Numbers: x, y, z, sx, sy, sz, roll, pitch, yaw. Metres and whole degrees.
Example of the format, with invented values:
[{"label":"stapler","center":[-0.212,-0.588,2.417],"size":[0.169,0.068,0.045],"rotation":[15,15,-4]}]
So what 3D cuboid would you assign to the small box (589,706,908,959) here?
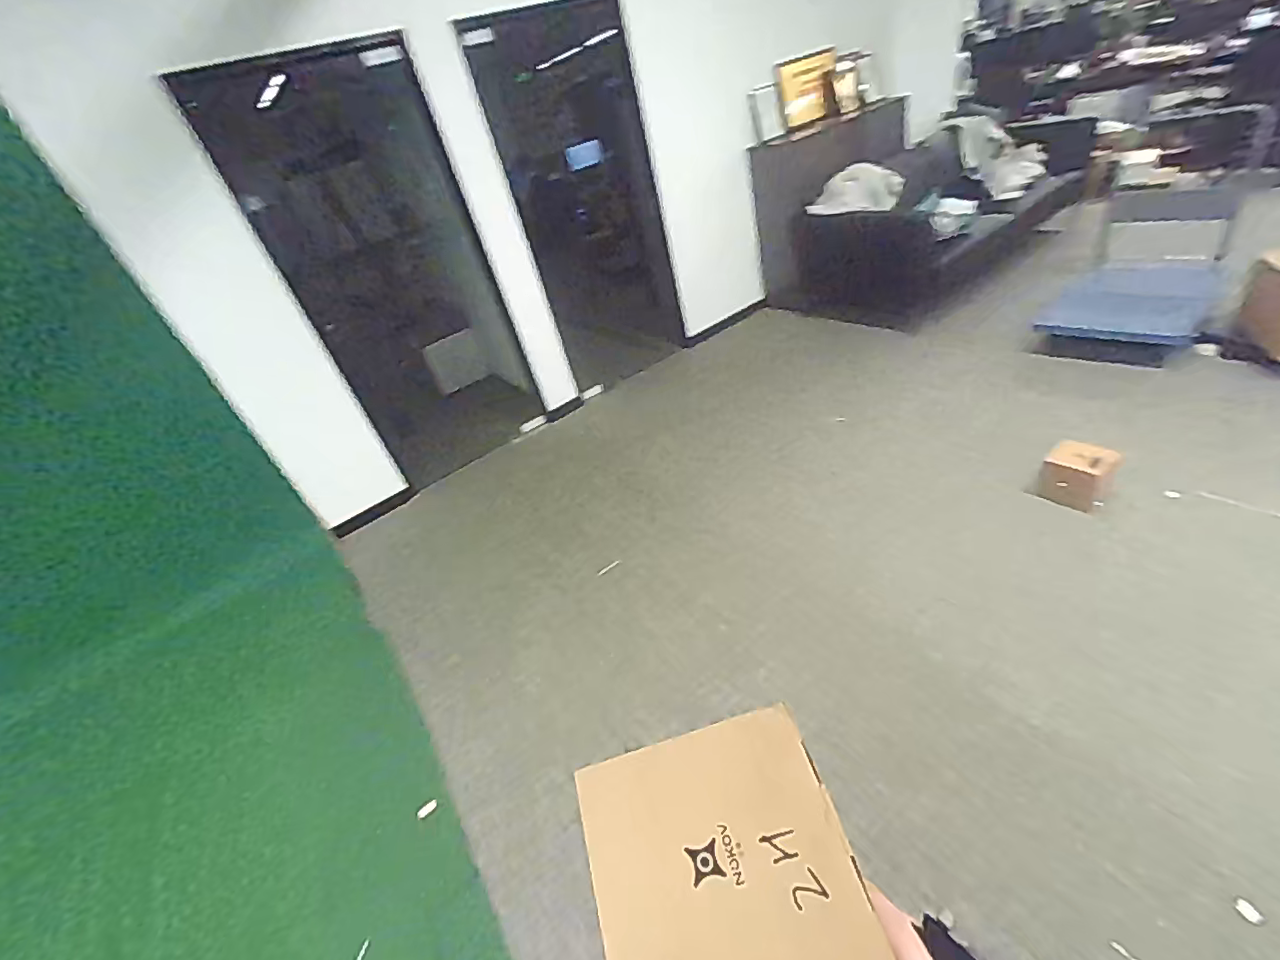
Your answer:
[{"label":"small box","center":[0.074,0.305,0.428],"size":[0.179,0.176,0.168],"rotation":[-16,53,-2]}]

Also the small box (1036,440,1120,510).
[{"label":"small box","center":[1.579,-0.013,1.958],"size":[0.168,0.176,0.179],"rotation":[-31,36,-21]}]
